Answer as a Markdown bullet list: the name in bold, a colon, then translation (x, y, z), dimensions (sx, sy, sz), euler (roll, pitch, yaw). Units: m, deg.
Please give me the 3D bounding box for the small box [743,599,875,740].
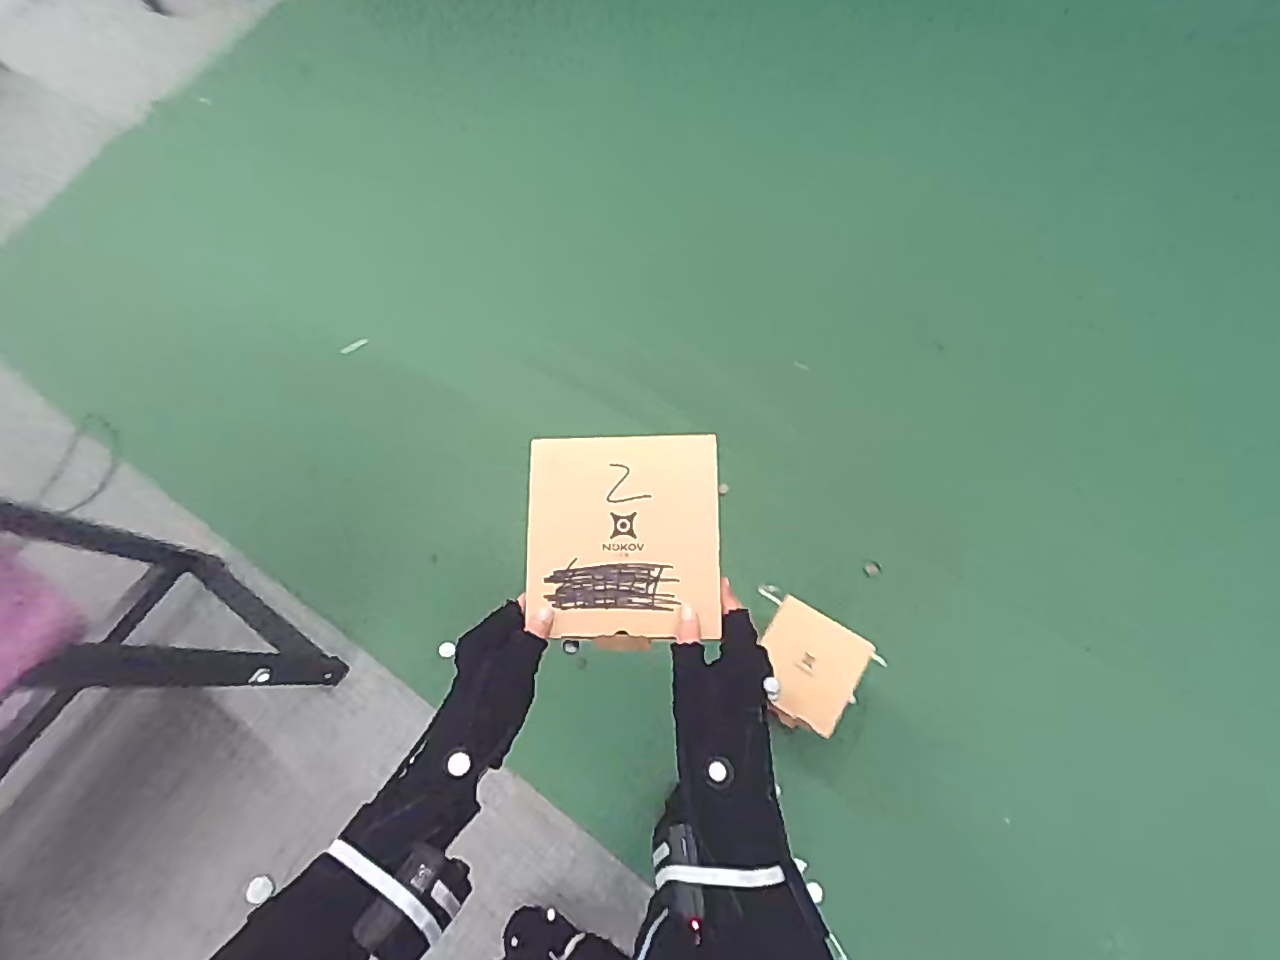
- **small box**: translation (0.300, 0.347, 1.001), dimensions (0.168, 0.176, 0.179), euler (30, 77, 18)
